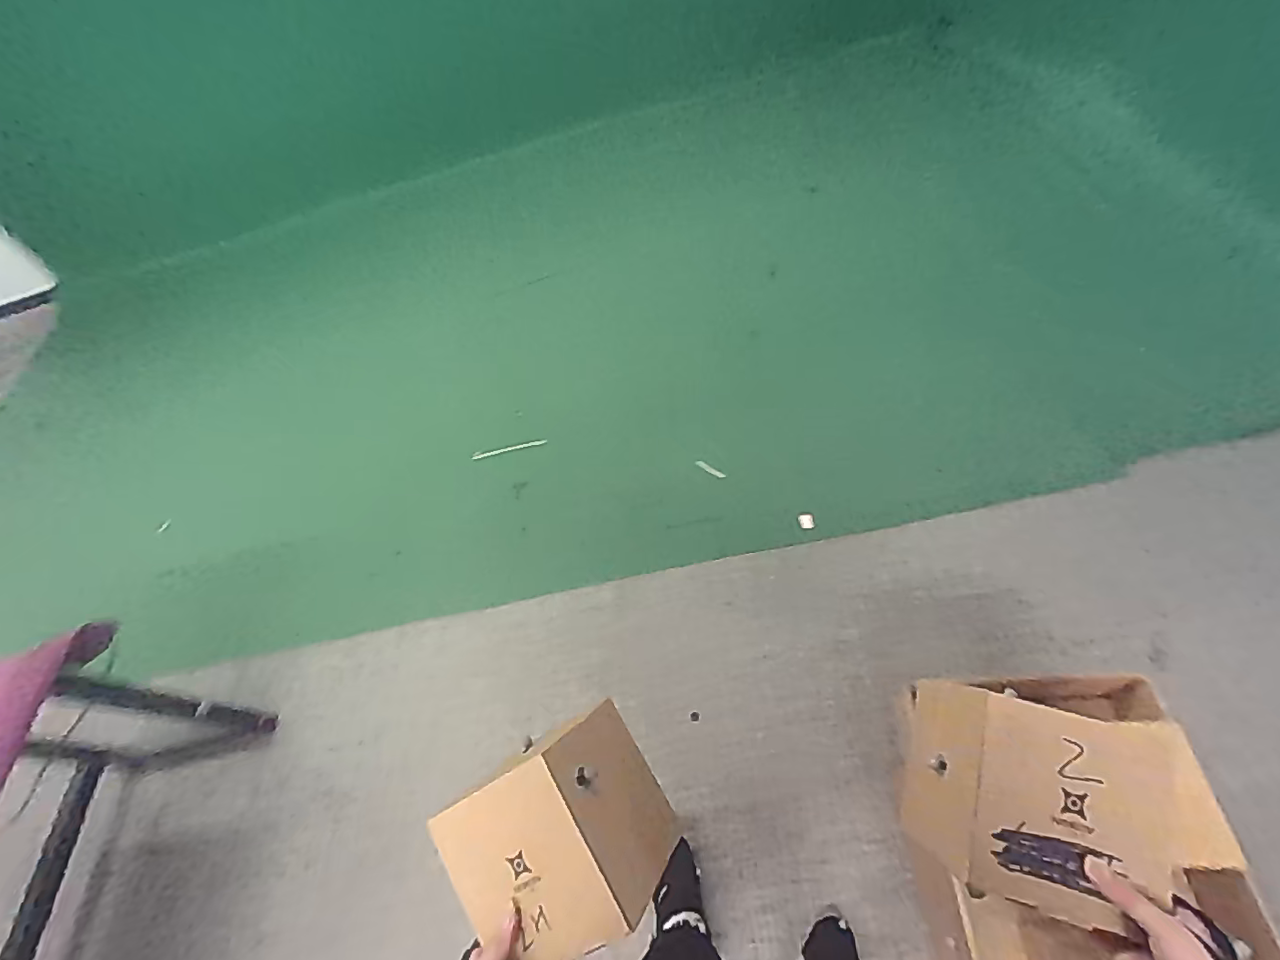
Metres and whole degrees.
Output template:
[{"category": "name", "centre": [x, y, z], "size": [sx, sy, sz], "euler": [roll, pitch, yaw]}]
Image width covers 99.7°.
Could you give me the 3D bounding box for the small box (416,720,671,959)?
[{"category": "small box", "centre": [-0.093, 0.386, 0.582], "size": [0.168, 0.176, 0.179], "euler": [-36, 76, 15]}]

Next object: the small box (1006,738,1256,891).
[{"category": "small box", "centre": [0.658, 0.460, 0.757], "size": [0.179, 0.176, 0.168], "euler": [-6, 57, 11]}]

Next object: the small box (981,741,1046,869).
[{"category": "small box", "centre": [0.697, 0.540, 0.894], "size": [0.168, 0.176, 0.179], "euler": [-5, 57, 11]}]
